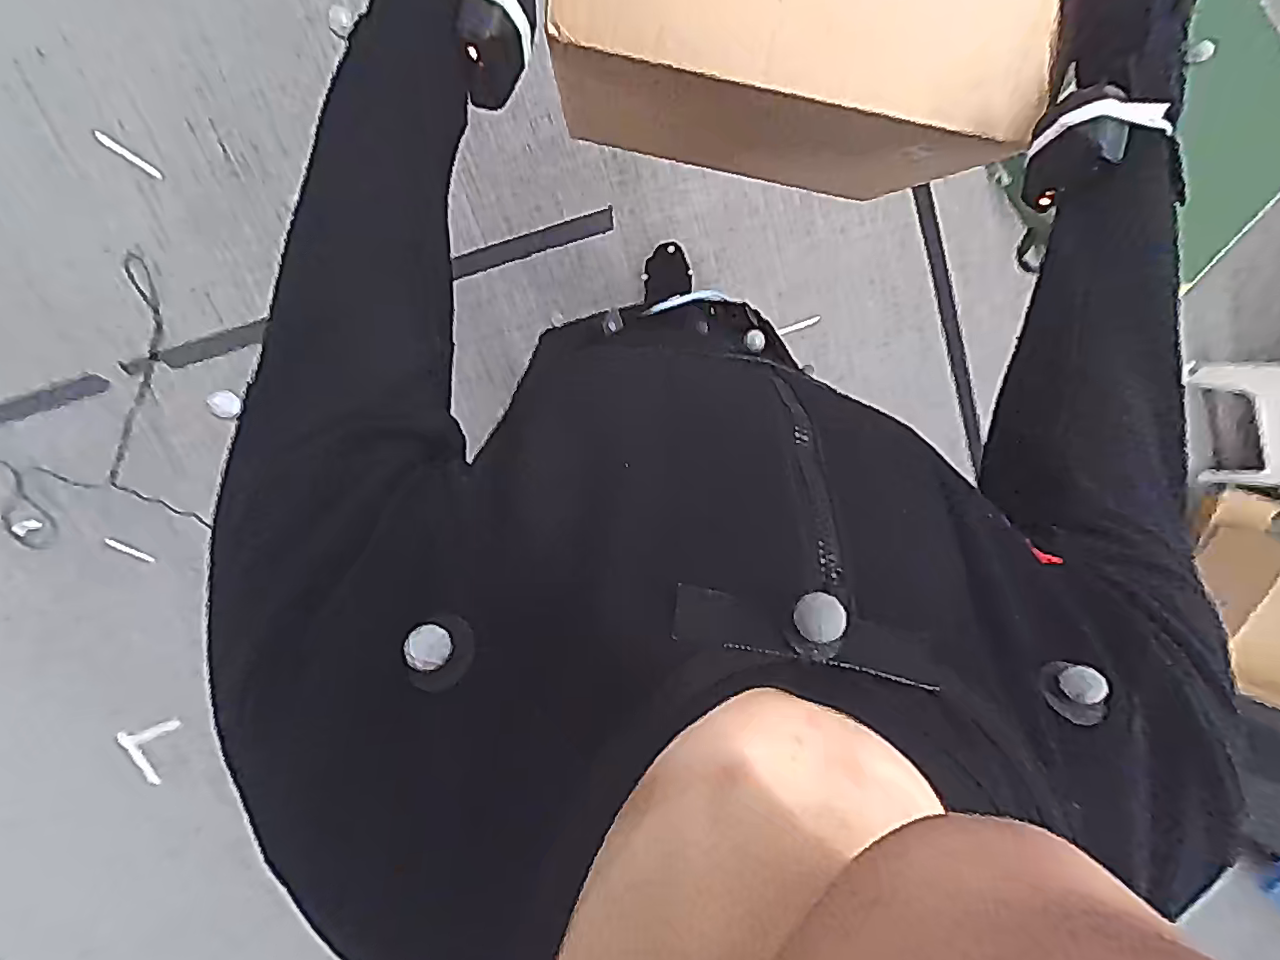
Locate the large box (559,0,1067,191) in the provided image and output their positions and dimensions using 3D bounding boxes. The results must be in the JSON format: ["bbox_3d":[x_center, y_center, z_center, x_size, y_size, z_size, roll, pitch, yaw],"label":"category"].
[{"bbox_3d":[0.140,-0.506,0.527,0.408,0.320,0.320,7,111,-8],"label":"large box"}]
